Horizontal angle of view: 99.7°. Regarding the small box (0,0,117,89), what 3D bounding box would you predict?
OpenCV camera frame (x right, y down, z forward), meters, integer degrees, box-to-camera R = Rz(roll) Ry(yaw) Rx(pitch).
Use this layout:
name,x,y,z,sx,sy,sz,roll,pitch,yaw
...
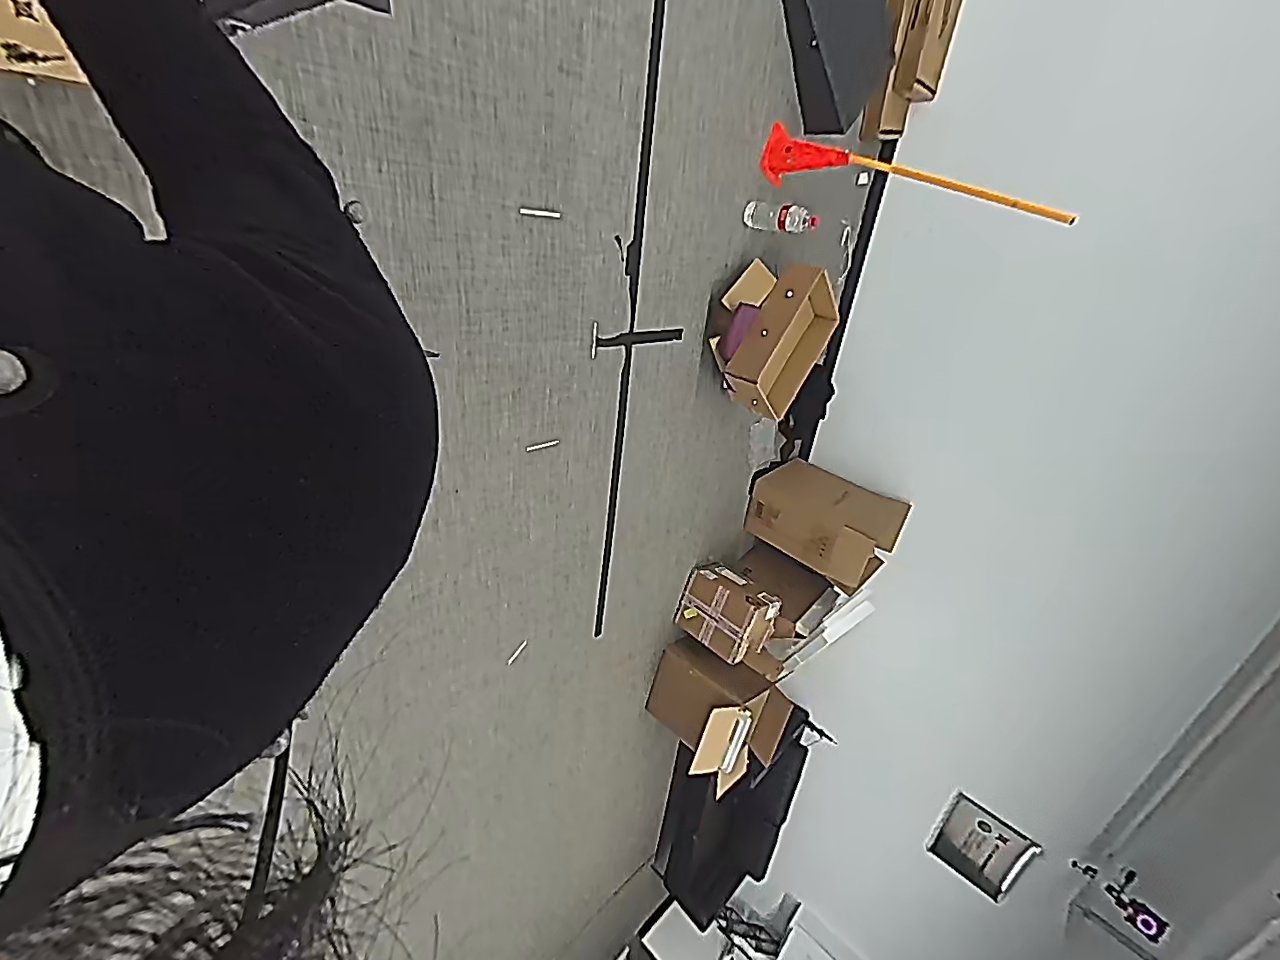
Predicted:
name,x,y,z,sx,sy,sz,roll,pitch,yaw
small box,-0.940,-0.717,0.818,0.168,0.176,0.179,-20,127,-42
